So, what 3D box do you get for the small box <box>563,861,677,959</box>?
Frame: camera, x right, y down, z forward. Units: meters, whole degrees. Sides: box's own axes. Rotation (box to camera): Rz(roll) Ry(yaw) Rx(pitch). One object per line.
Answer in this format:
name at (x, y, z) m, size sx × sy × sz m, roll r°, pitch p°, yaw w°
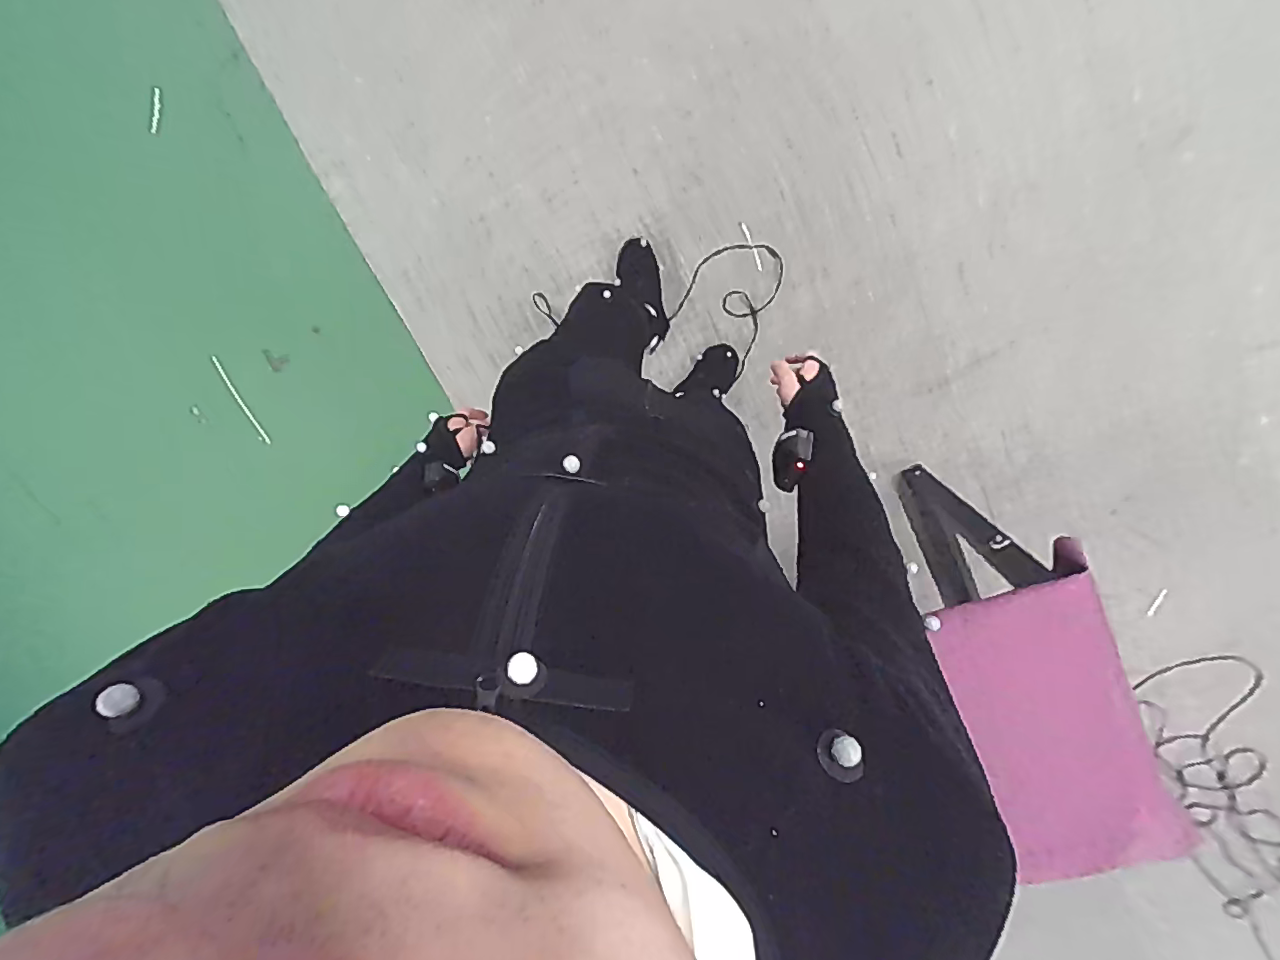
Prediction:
small box at (-0.031, 0.943, 1.123) m, size 0.168 × 0.176 × 0.179 m, roll -24°, pitch 104°, yaw 14°
